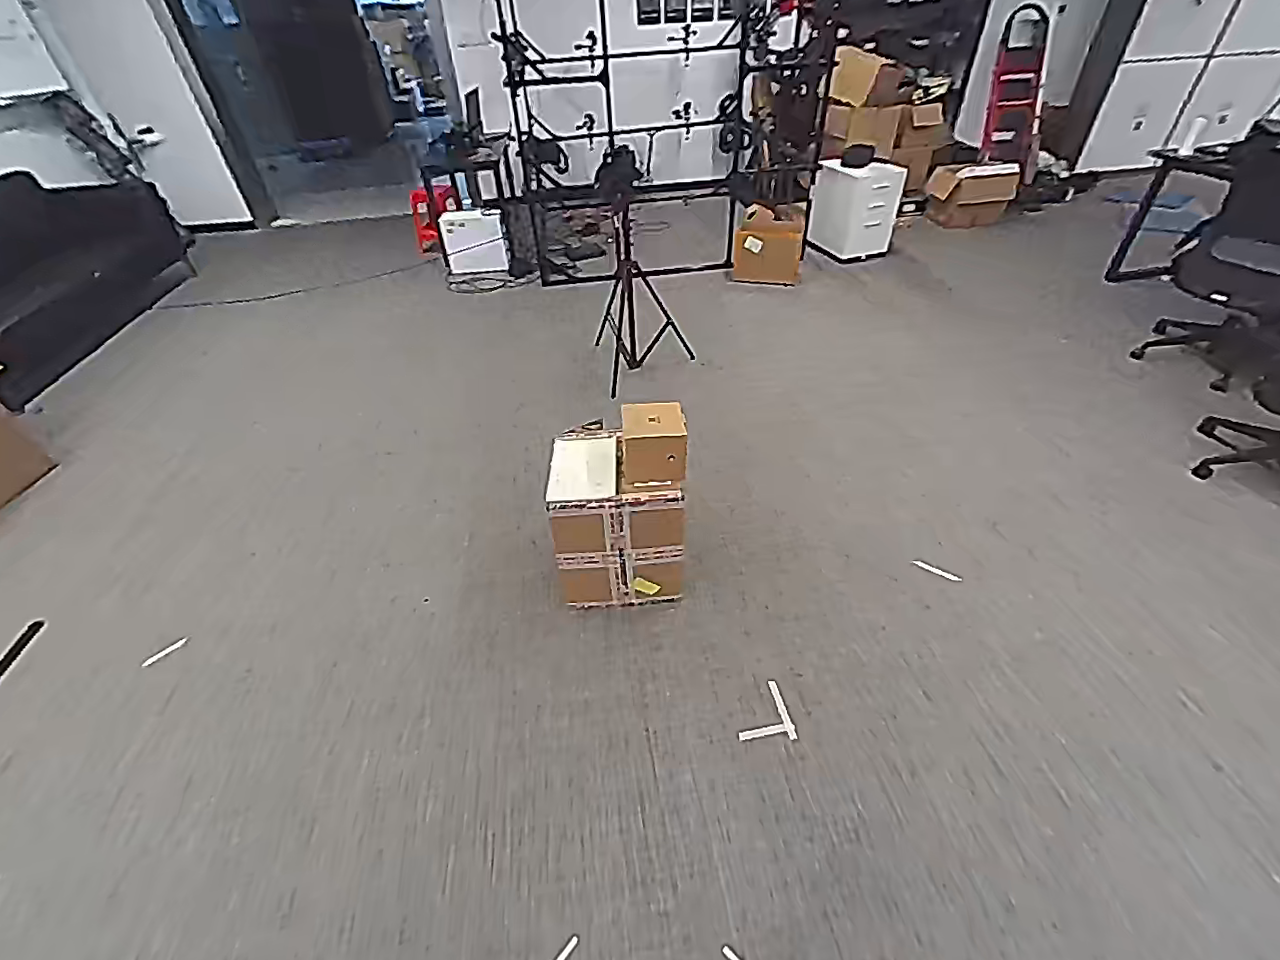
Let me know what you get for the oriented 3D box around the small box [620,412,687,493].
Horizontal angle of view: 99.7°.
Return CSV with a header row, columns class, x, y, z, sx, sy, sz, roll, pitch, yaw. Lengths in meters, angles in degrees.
class,x,y,z,sx,sy,sz,roll,pitch,yaw
small box,0.034,-0.077,1.559,0.179,0.176,0.168,-4,42,-3
